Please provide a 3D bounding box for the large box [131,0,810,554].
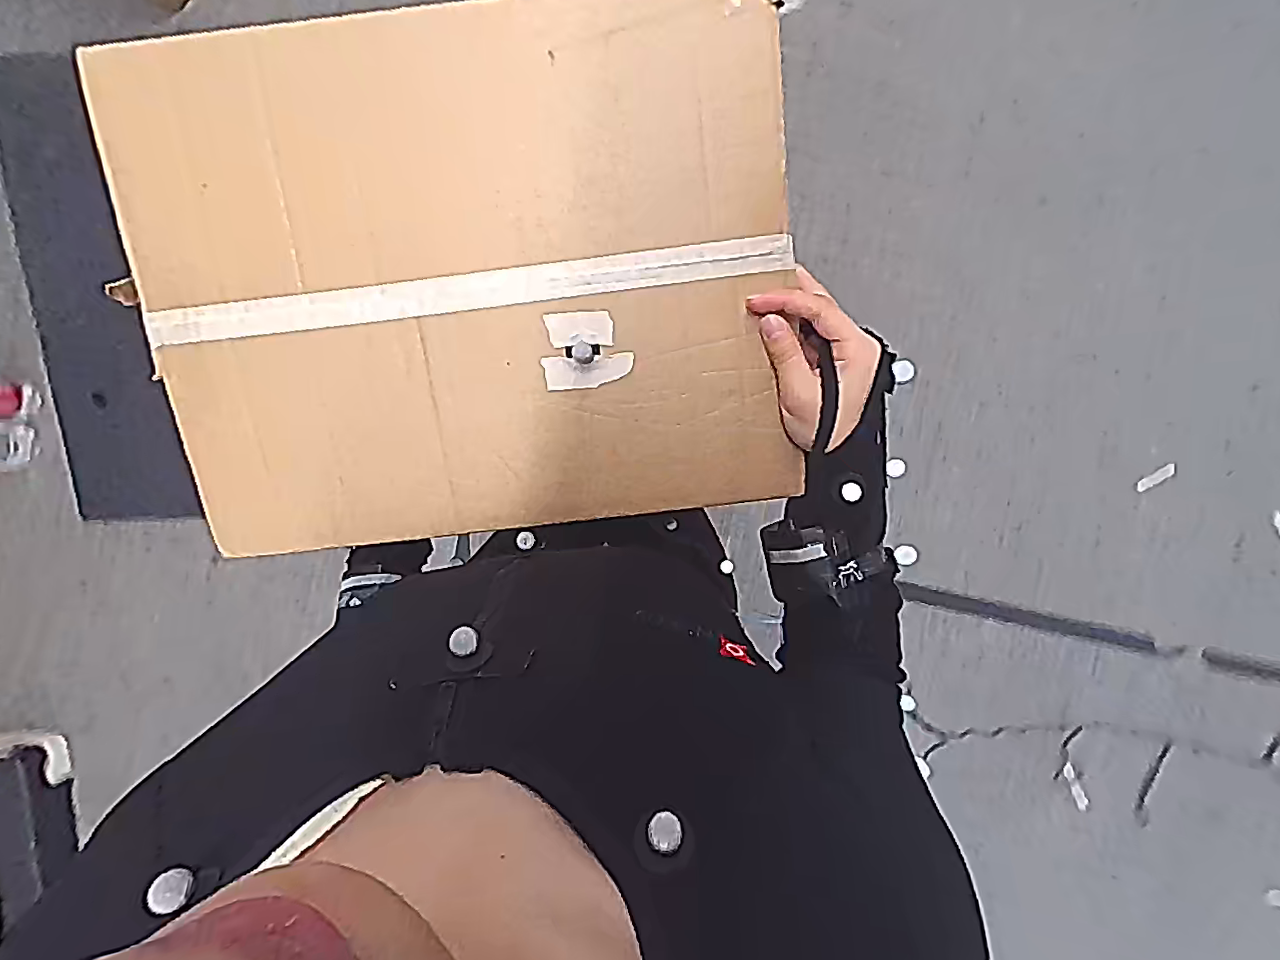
[{"bbox_3d":[-0.098,-0.147,0.496,0.408,0.320,0.320,-6,102,0],"label":"large box"}]
